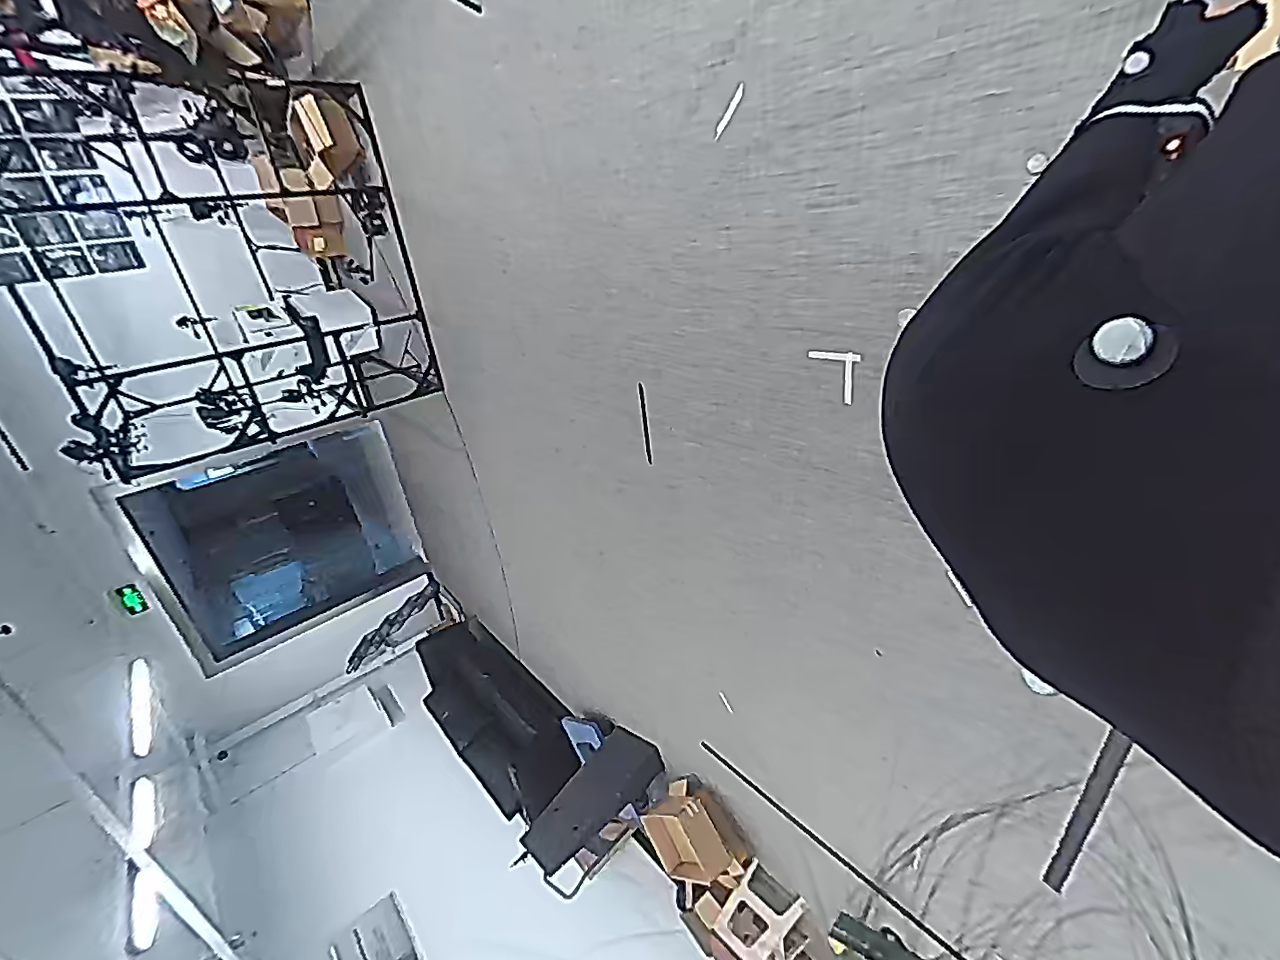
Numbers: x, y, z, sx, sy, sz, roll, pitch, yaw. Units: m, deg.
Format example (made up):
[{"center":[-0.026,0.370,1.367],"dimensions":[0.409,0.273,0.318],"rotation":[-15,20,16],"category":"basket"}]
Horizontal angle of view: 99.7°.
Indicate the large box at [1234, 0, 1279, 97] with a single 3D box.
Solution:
[{"center":[1.025,-0.685,0.620],"dimensions":[0.408,0.320,0.320],"rotation":[20,125,45],"category":"large box"}]
